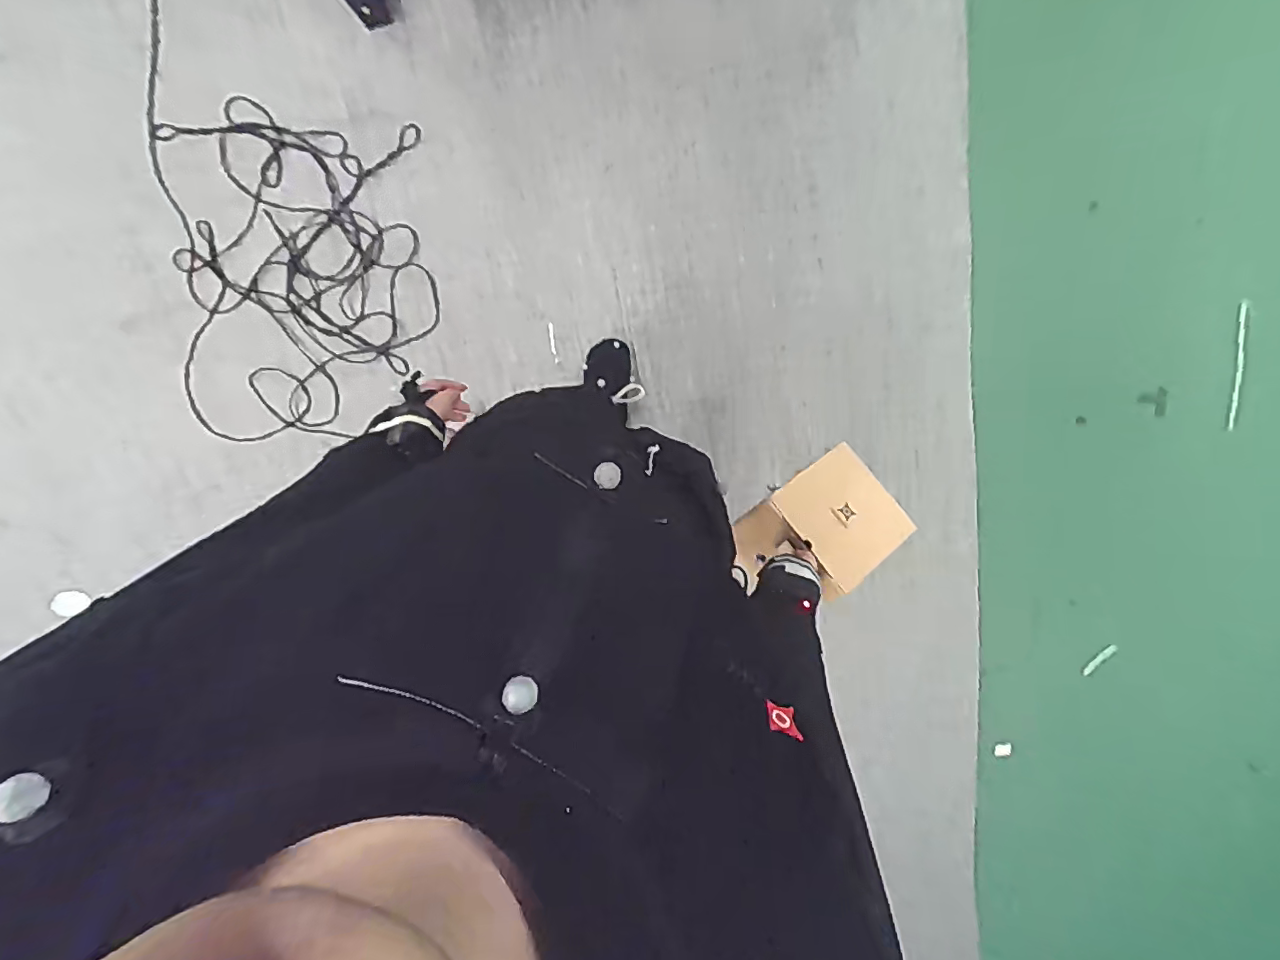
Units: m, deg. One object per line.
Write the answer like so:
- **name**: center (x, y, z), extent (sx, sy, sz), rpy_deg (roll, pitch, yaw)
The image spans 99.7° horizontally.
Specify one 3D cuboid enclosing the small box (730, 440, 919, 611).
- **small box**: center (0.269, 0.074, 0.821), extent (0.179, 0.176, 0.168), rpy_deg (-33, 78, -25)
